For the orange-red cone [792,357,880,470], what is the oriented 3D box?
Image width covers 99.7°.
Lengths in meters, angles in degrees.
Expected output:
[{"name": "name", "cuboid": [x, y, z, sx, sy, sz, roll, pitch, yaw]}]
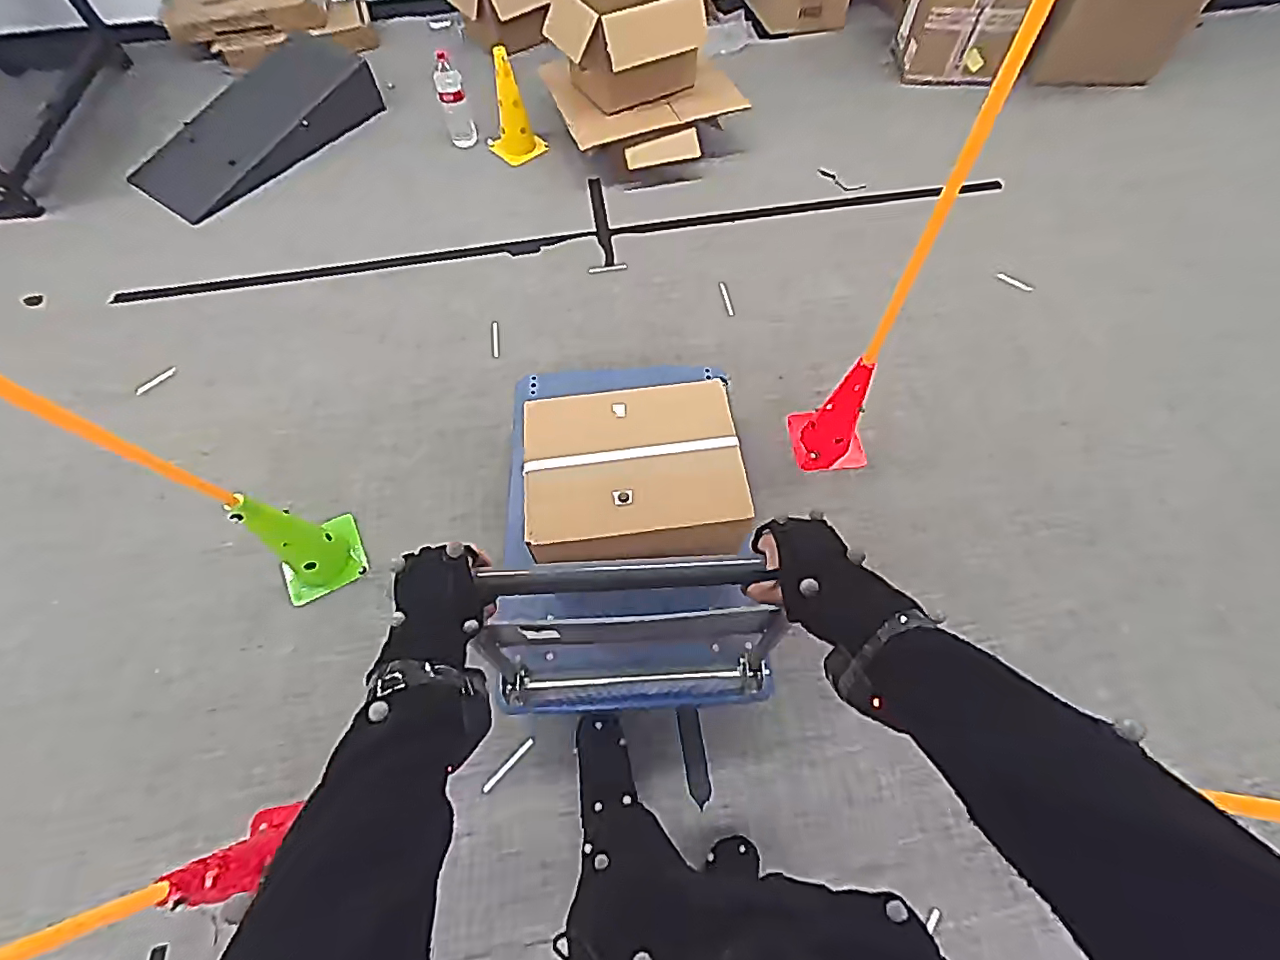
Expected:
[{"name": "orange-red cone", "cuboid": [0.552, -0.196, 1.430, 0.199, 0.360, 0.198, -2, 63, -1]}]
